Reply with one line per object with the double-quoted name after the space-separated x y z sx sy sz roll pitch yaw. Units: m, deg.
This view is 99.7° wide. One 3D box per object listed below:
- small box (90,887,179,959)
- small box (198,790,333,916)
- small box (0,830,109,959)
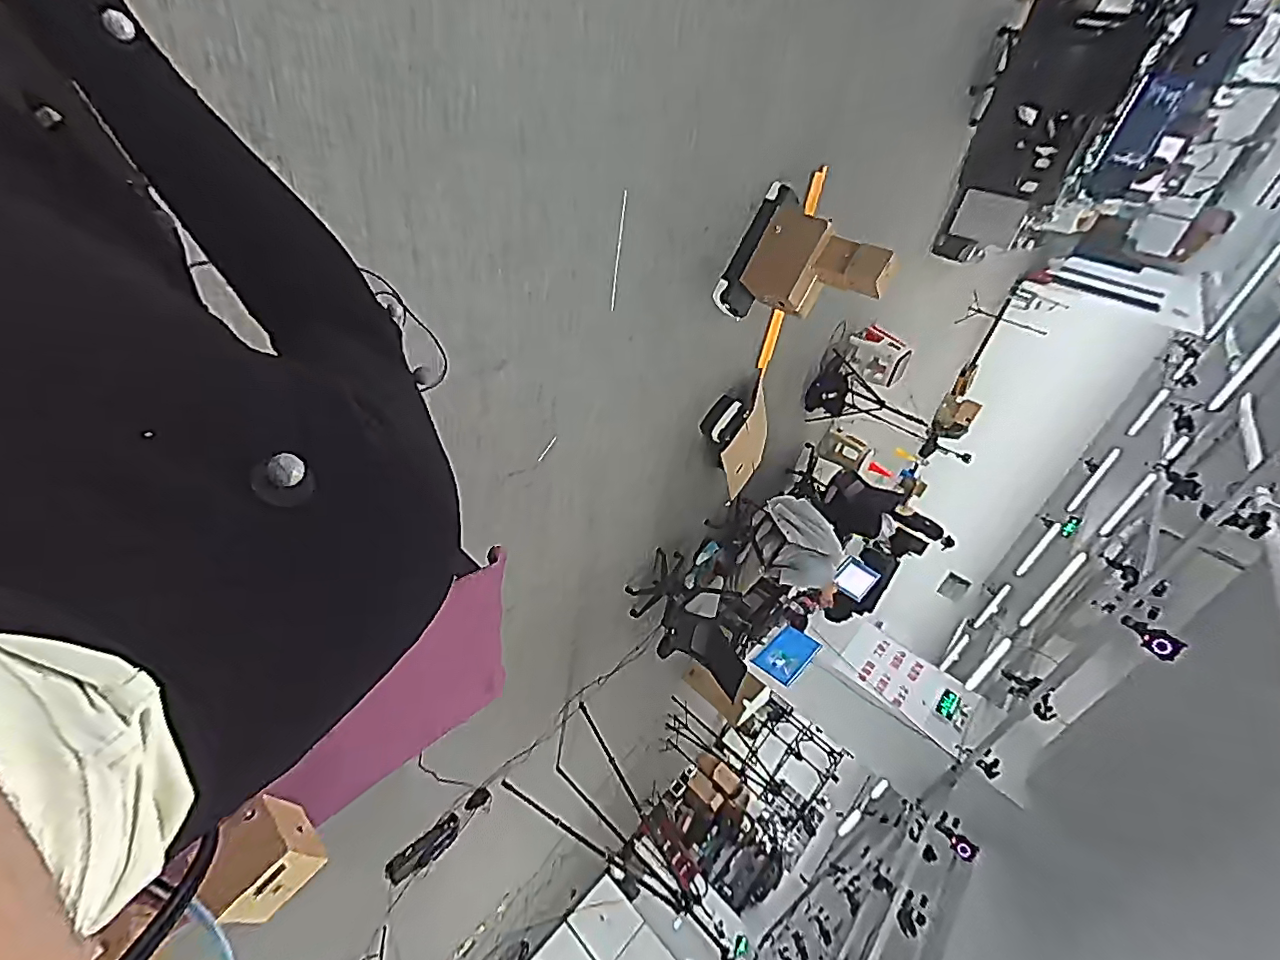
-1.062 0.971 1.072 0.179 0.176 0.168 -33 143 -37 "small box"
-0.862 0.854 1.247 0.168 0.176 0.179 -40 148 -25 "small box"
-1.018 0.725 0.875 0.179 0.176 0.168 -25 140 -44 "small box"
